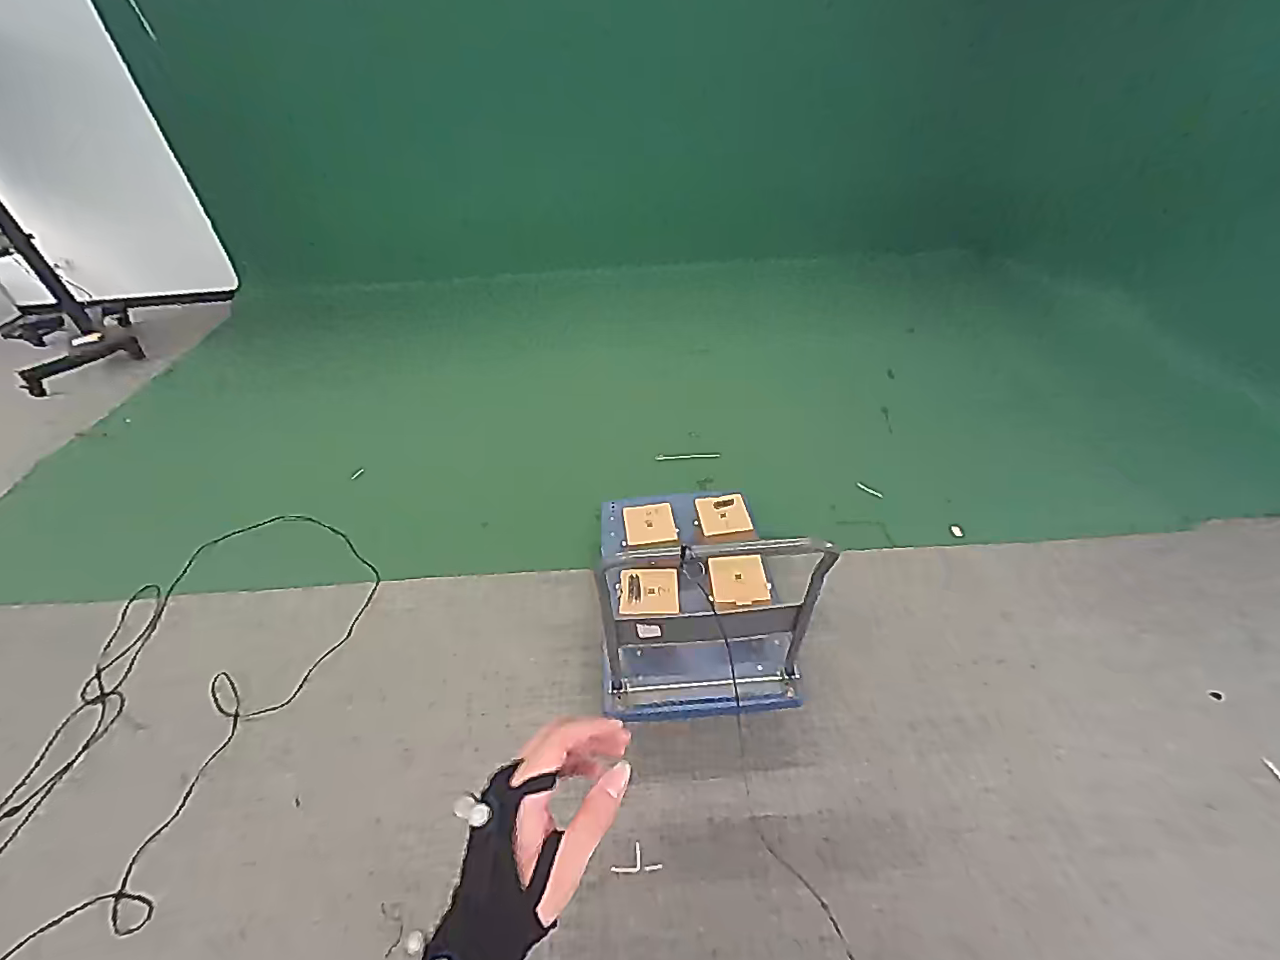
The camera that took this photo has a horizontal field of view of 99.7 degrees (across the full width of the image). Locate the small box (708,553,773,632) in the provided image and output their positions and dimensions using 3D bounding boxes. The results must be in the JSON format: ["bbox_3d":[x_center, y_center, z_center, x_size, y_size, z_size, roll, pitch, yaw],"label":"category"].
[{"bbox_3d":[0.303,0.348,1.669,0.168,0.176,0.179,-4,43,1],"label":"small box"}]

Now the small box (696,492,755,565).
[{"bbox_3d":[0.290,0.168,1.870,0.168,0.176,0.179,-7,43,-2],"label":"small box"}]

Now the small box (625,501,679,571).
[{"bbox_3d":[0.040,0.200,1.857,0.168,0.176,0.179,-6,42,-3],"label":"small box"}]
